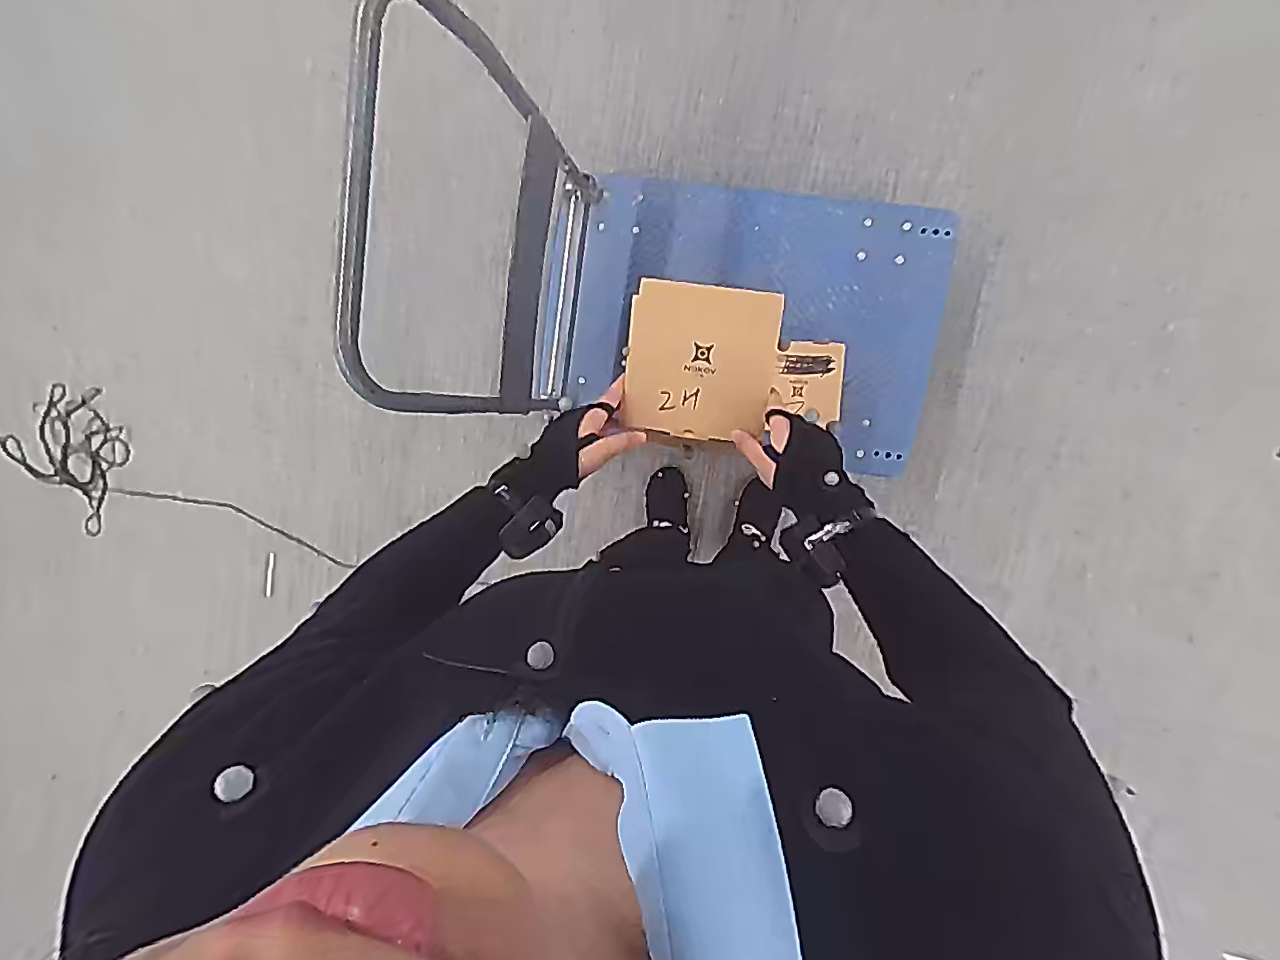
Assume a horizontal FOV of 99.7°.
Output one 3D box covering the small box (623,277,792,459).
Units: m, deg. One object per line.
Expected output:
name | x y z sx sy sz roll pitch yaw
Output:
small box | 0.081 -0.127 0.674 0.168 0.176 0.179 9 90 7

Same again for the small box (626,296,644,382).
small box | 0.068 -0.284 1.162 0.168 0.176 0.179 6 98 7
